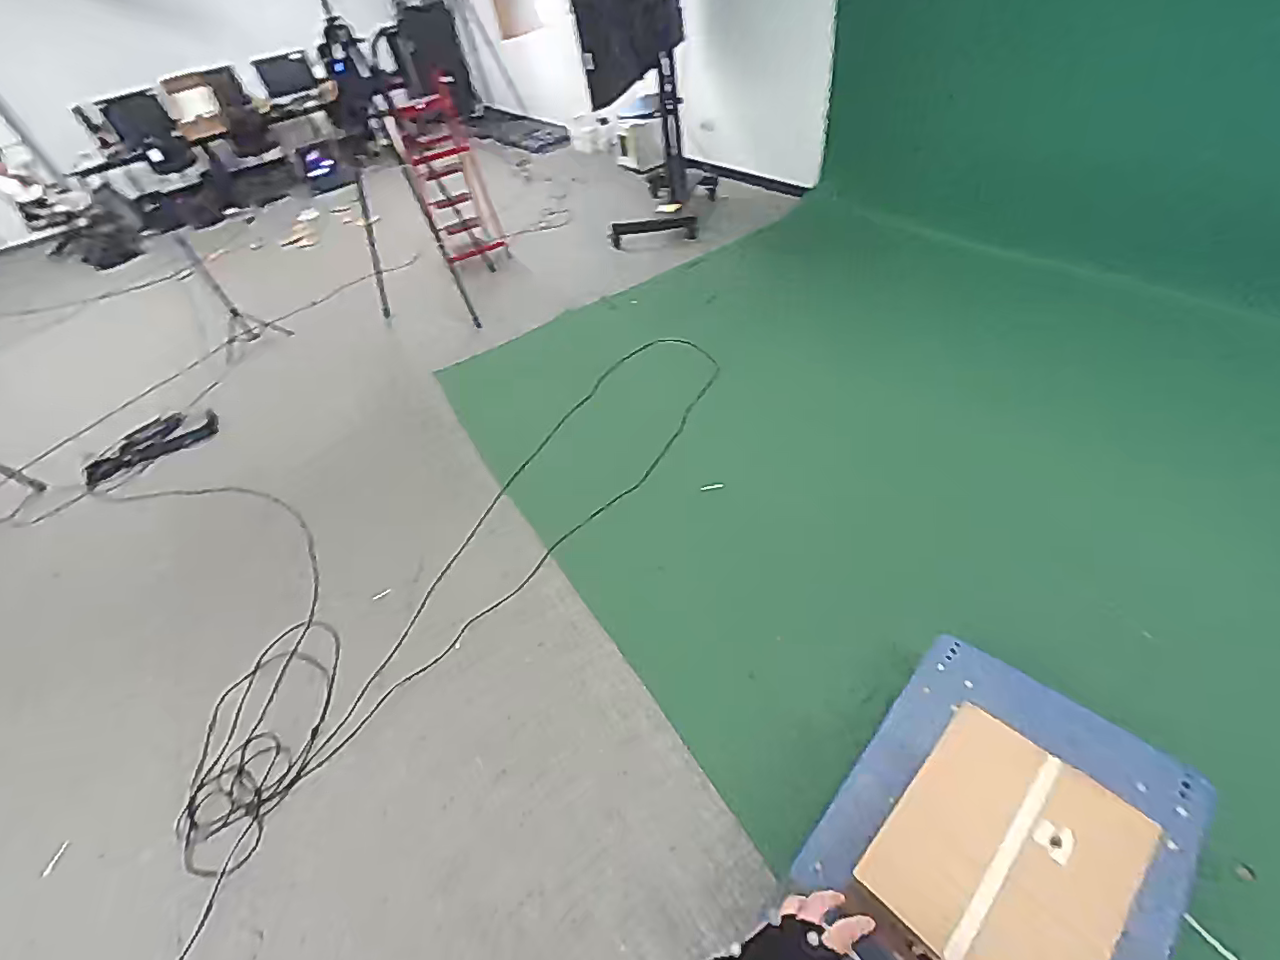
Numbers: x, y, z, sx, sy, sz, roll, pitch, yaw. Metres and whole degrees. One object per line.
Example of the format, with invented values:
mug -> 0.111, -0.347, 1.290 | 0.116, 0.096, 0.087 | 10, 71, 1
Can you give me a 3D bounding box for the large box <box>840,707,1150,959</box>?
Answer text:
large box -> 0.621, 0.729, 0.996 | 0.408, 0.320, 0.320 | -37, 49, -24
